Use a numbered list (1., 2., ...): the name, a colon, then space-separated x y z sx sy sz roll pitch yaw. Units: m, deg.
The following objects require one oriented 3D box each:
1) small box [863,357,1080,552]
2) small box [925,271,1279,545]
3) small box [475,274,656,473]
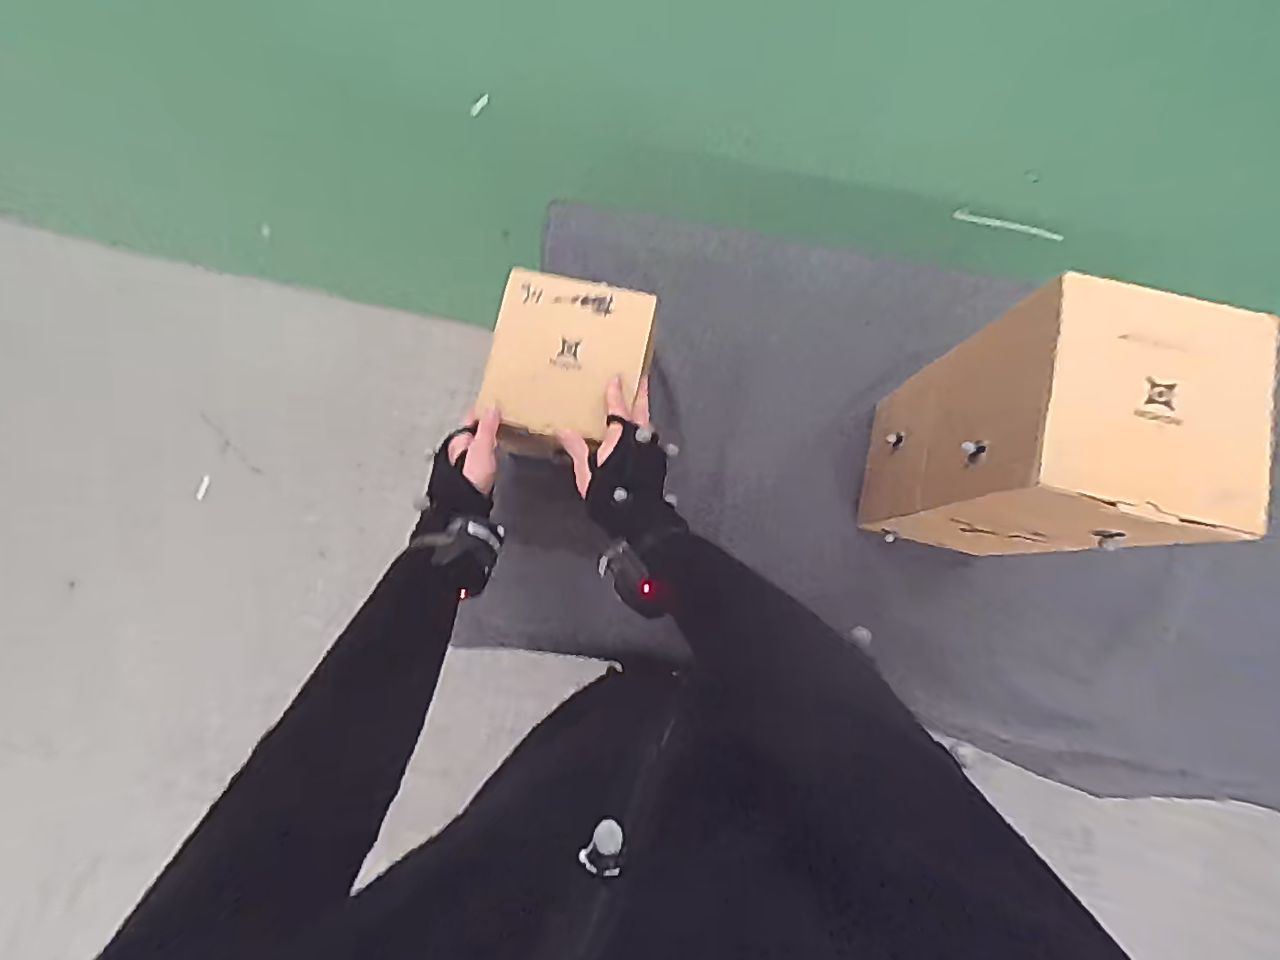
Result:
1. small box: 0.380 -0.017 0.632 0.168 0.176 0.179 12 80 3
2. small box: 0.378 -0.045 0.473 0.168 0.176 0.179 13 79 1
3. small box: -0.078 -0.113 0.652 0.168 0.176 0.179 11 82 0
